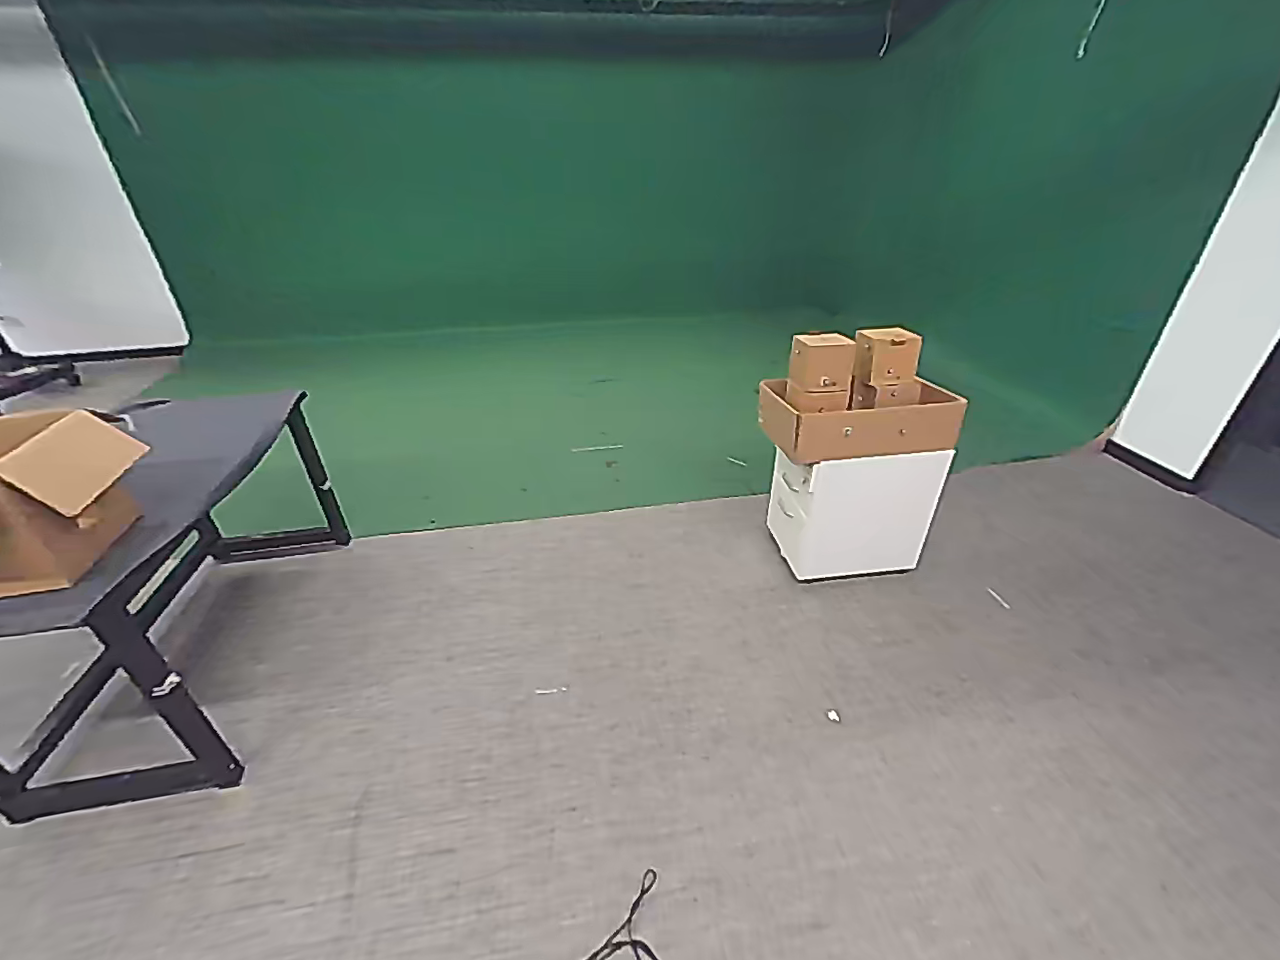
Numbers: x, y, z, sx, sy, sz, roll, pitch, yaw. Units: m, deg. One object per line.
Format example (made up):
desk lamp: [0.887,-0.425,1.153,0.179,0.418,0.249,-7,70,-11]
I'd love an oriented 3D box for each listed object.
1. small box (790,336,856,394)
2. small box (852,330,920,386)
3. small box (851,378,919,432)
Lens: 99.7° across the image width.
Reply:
small box: [0.647,-0.414,1.936,0.168,0.176,0.179,-4,27,-4]
small box: [0.894,-0.448,1.988,0.168,0.176,0.179,-3,27,-1]
small box: [0.914,-0.290,2.033,0.168,0.176,0.179,-7,26,-4]
